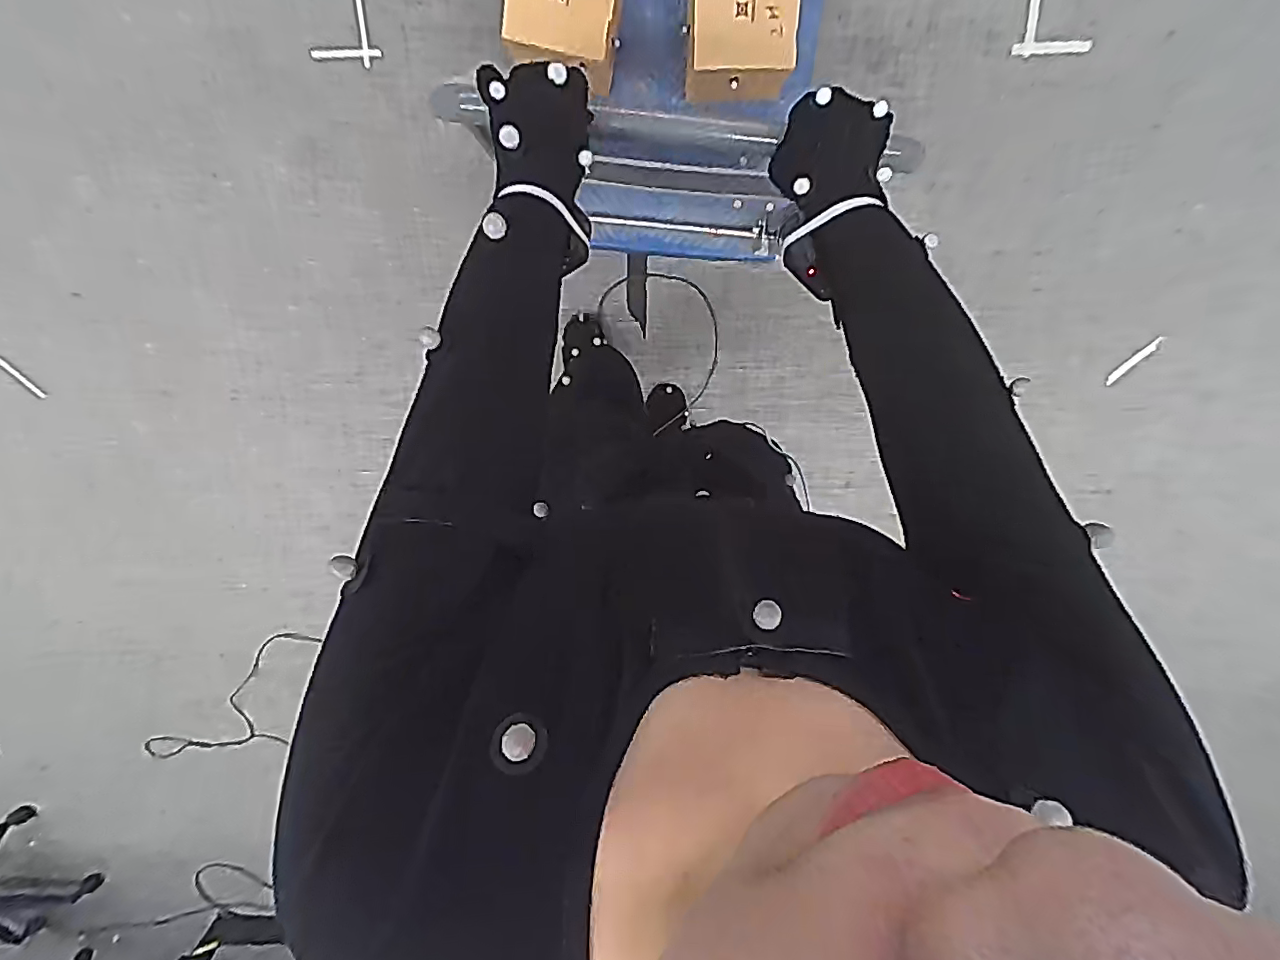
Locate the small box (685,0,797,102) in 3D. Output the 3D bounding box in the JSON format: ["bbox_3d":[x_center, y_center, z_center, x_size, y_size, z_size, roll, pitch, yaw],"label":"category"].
[{"bbox_3d":[0.173,-0.801,0.972,0.179,0.176,0.168,-1,110,-1],"label":"small box"}]

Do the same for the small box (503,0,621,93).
[{"bbox_3d":[-0.132,-0.823,0.961,0.179,0.176,0.168,9,108,-5],"label":"small box"}]
